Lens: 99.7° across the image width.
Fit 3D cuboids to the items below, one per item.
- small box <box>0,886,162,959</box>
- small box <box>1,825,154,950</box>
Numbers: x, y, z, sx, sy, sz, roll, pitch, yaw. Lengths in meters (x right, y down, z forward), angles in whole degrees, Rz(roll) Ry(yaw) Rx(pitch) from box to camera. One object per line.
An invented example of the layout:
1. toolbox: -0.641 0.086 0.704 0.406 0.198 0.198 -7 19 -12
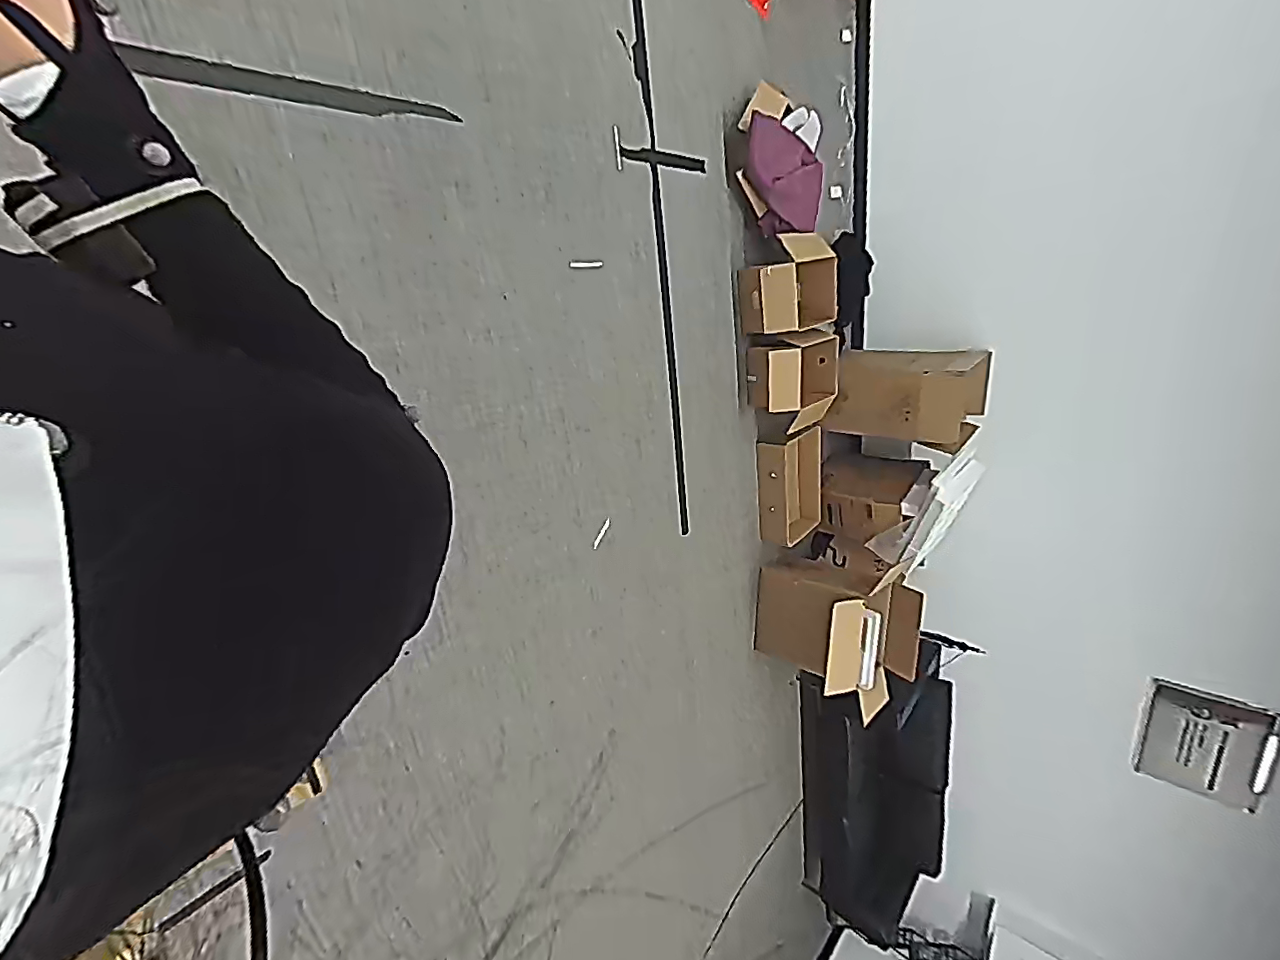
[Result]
1. small box: -0.944 0.857 0.922 0.168 0.176 0.179 -25 116 -42
2. small box: -1.062 0.816 1.031 0.168 0.176 0.179 -19 112 -44
